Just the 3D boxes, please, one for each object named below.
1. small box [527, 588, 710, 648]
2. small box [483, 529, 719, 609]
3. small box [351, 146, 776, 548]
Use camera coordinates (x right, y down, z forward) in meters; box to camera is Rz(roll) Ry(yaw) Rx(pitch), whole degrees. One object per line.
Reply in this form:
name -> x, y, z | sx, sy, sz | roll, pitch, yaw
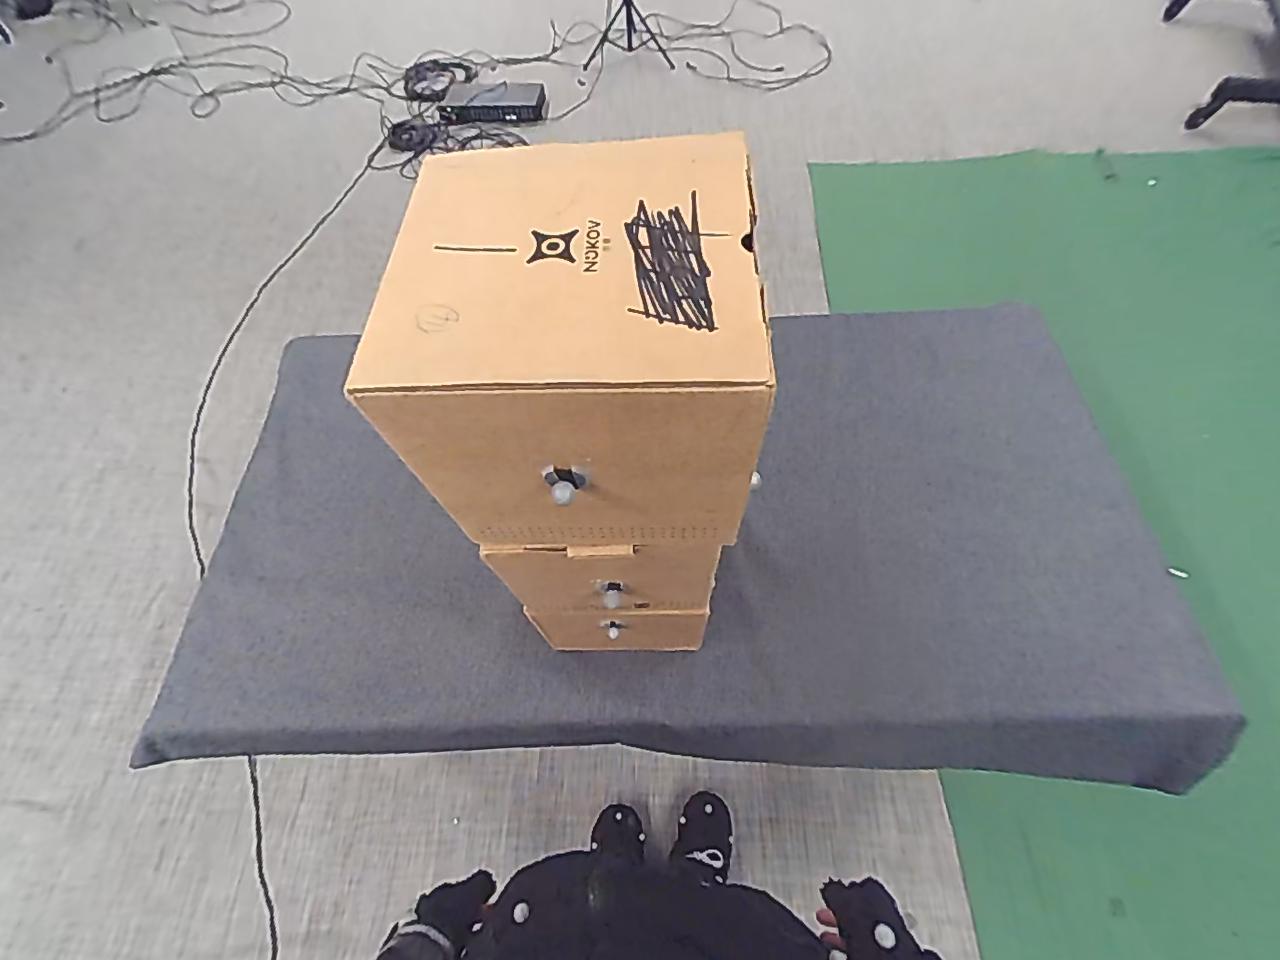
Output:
small box -> -0.017, 0.092, 0.612 | 0.179, 0.176, 0.168 | -1, 62, 1
small box -> -0.023, 0.010, 0.471 | 0.168, 0.176, 0.179 | -3, 62, 2
small box -> -0.026, -0.066, 0.324 | 0.179, 0.176, 0.168 | 0, 61, 4
